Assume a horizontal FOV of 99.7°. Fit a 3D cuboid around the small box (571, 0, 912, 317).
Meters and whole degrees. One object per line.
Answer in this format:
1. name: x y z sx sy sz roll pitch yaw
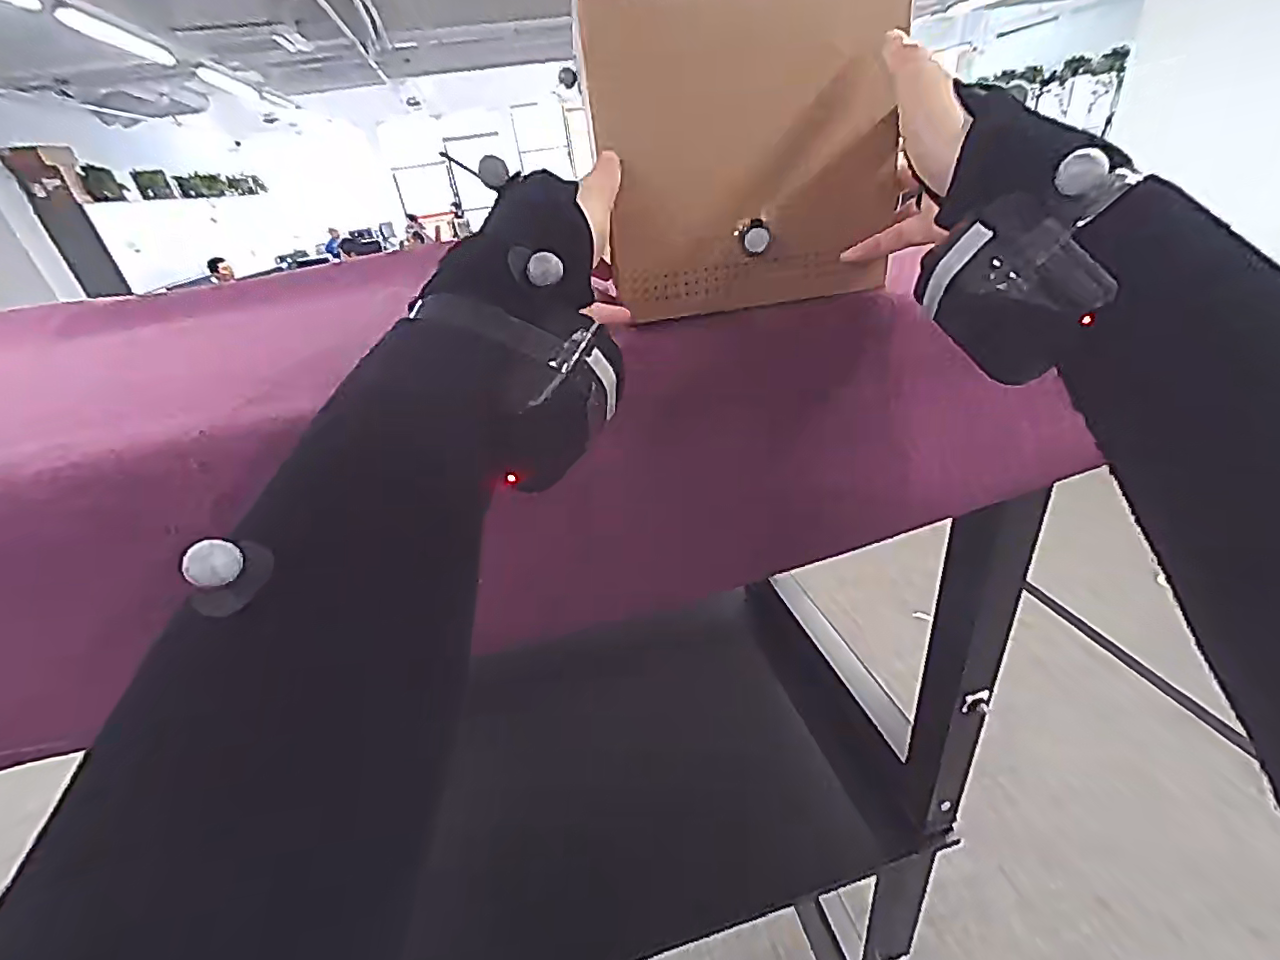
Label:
1. small box: 0.054 -0.223 0.372 0.179 0.176 0.168 -9 29 -1
